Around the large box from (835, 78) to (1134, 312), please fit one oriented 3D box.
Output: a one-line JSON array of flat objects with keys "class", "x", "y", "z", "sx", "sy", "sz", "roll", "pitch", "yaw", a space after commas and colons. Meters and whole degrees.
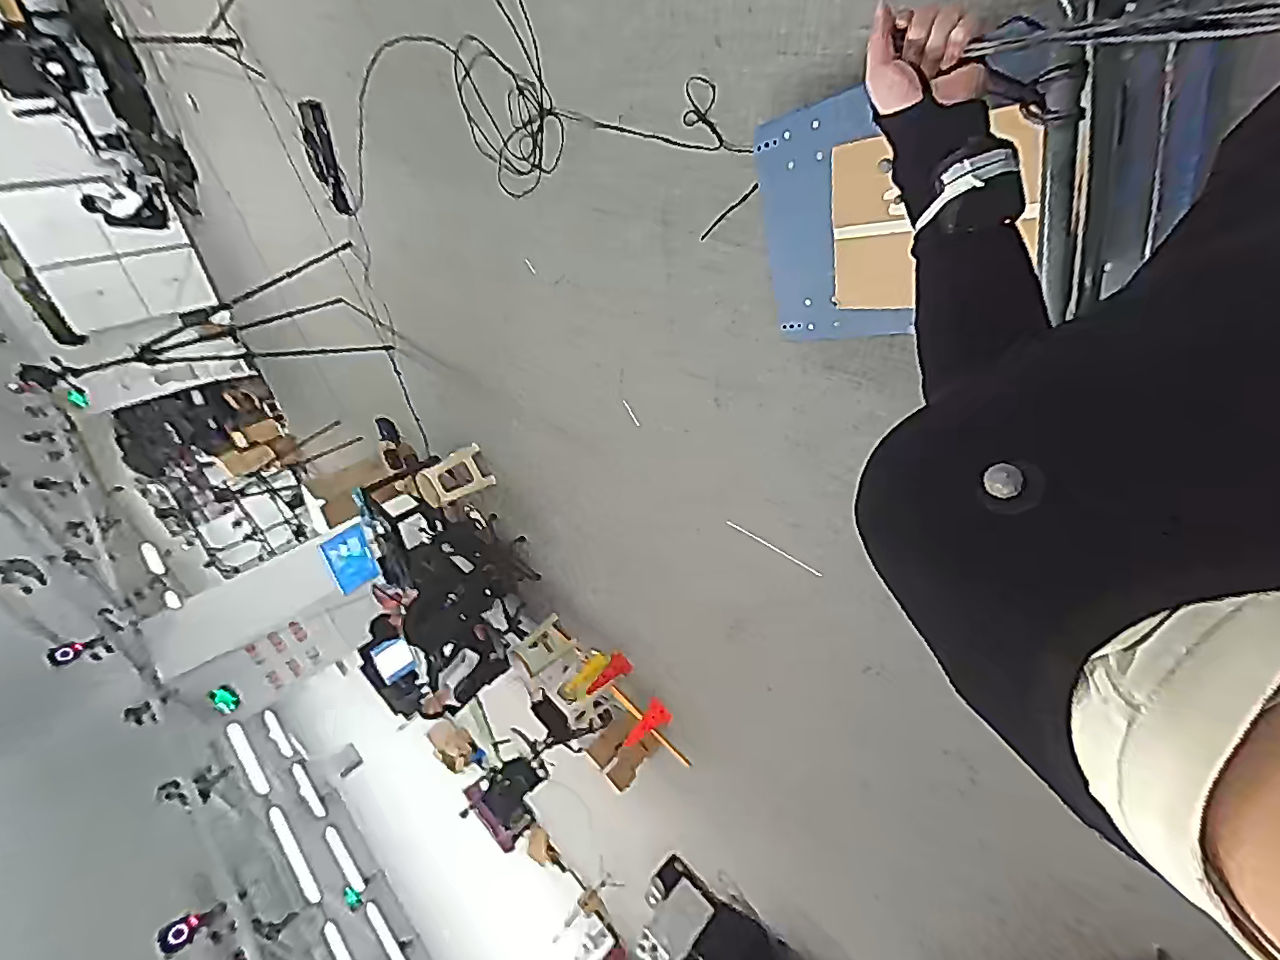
[{"class": "large box", "x": 0.646, "y": -0.529, "z": 1.049, "sx": 0.408, "sy": 0.320, "sz": 0.320, "roll": 16, "pitch": 129, "yaw": 44}]
